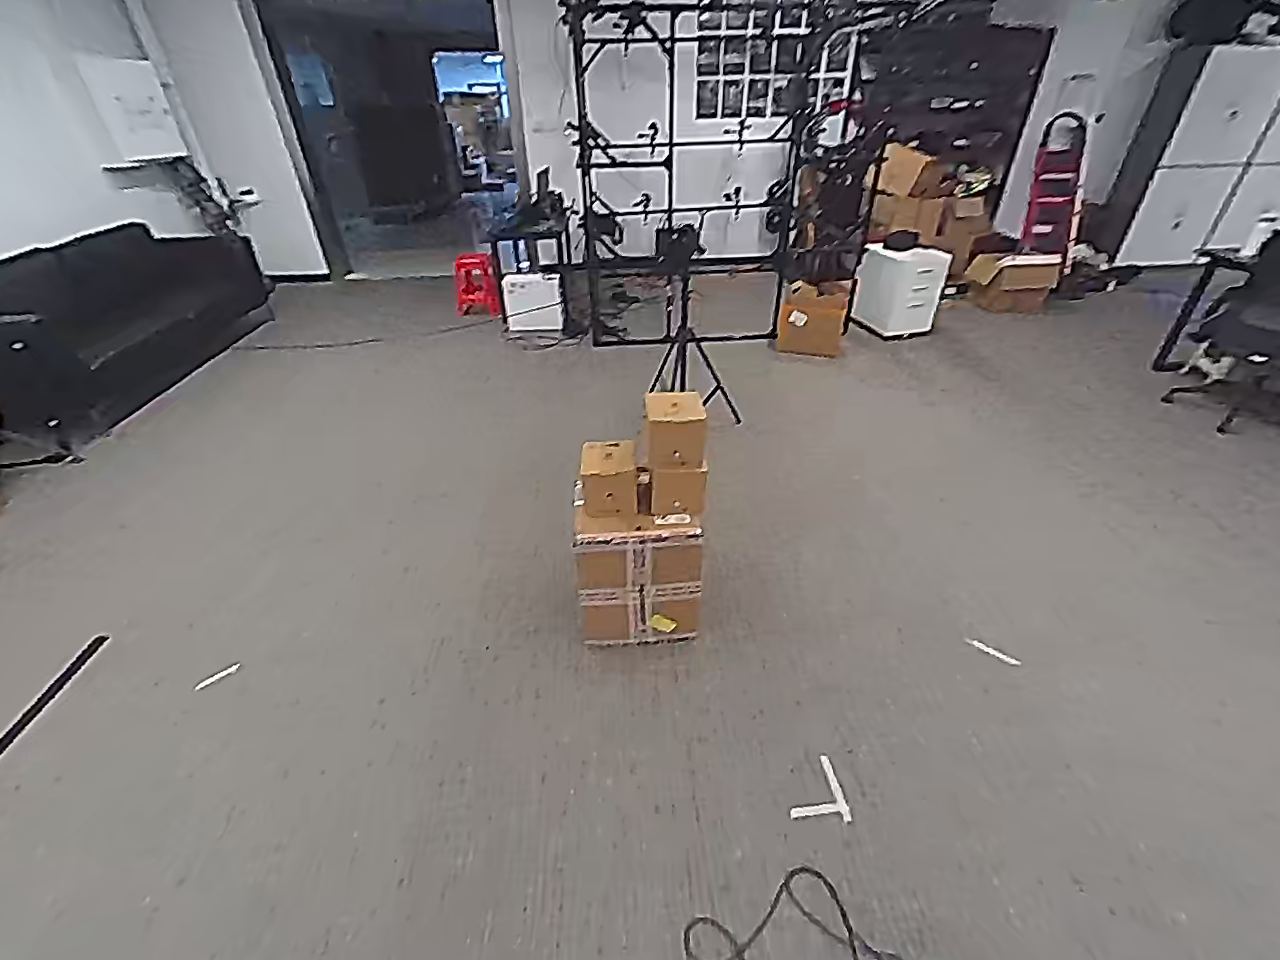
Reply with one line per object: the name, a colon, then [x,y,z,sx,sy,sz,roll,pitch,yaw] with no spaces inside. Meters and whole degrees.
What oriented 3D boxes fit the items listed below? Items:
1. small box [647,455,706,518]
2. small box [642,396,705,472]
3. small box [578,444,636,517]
small box: [0.110,0.001,1.716,0.168,0.176,0.179,-1,36,-2]
small box: [0.094,-0.140,1.629,0.168,0.176,0.179,-2,36,-4]
small box: [-0.099,0.006,1.711,0.168,0.176,0.179,-3,37,0]
